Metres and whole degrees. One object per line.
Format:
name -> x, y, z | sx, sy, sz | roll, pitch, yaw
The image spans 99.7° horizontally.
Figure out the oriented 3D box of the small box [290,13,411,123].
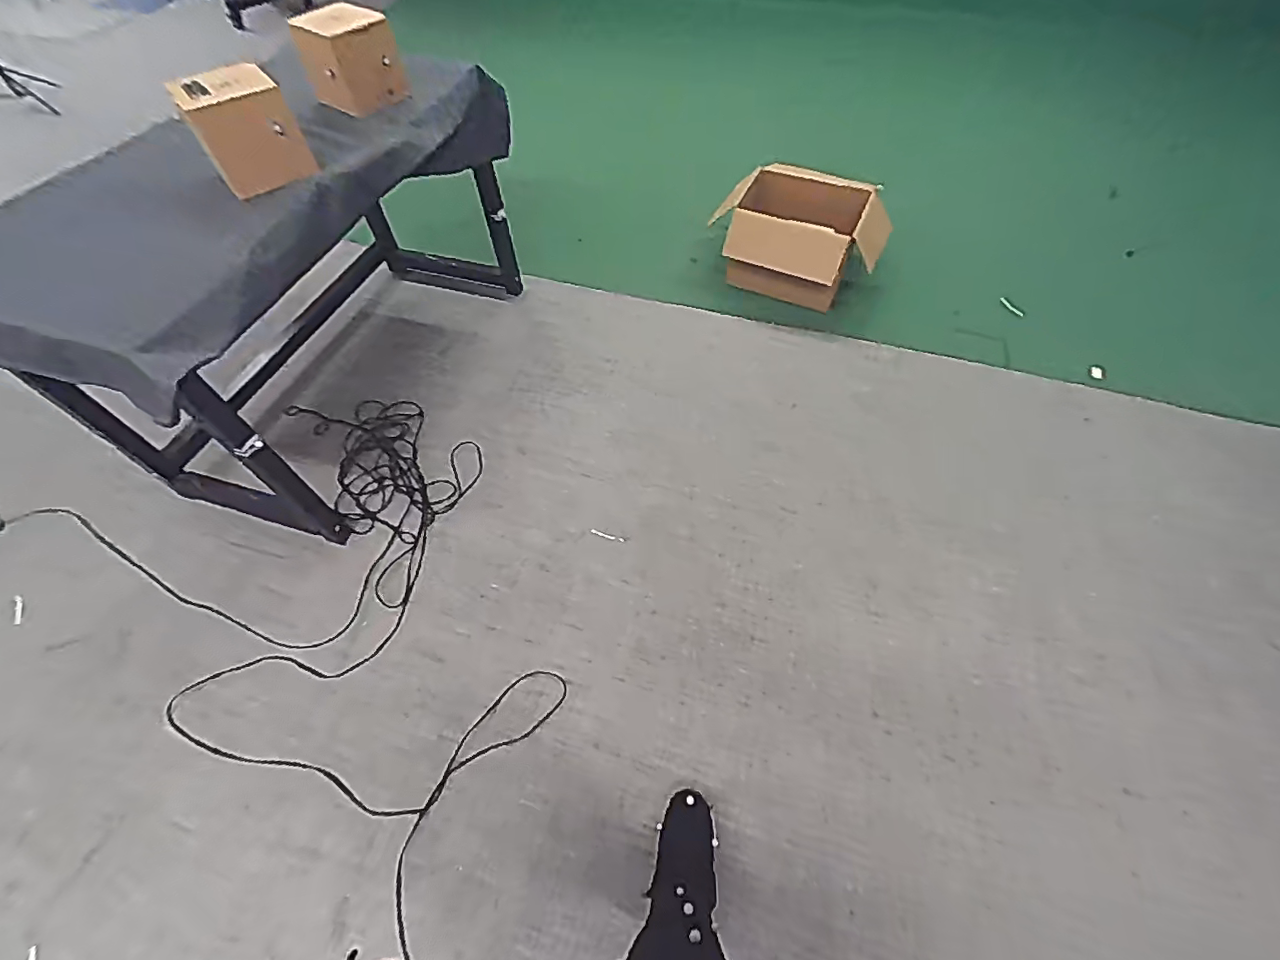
small box -> -0.706, -1.015, 1.339 | 0.179, 0.176, 0.168 | 30, 61, 22
